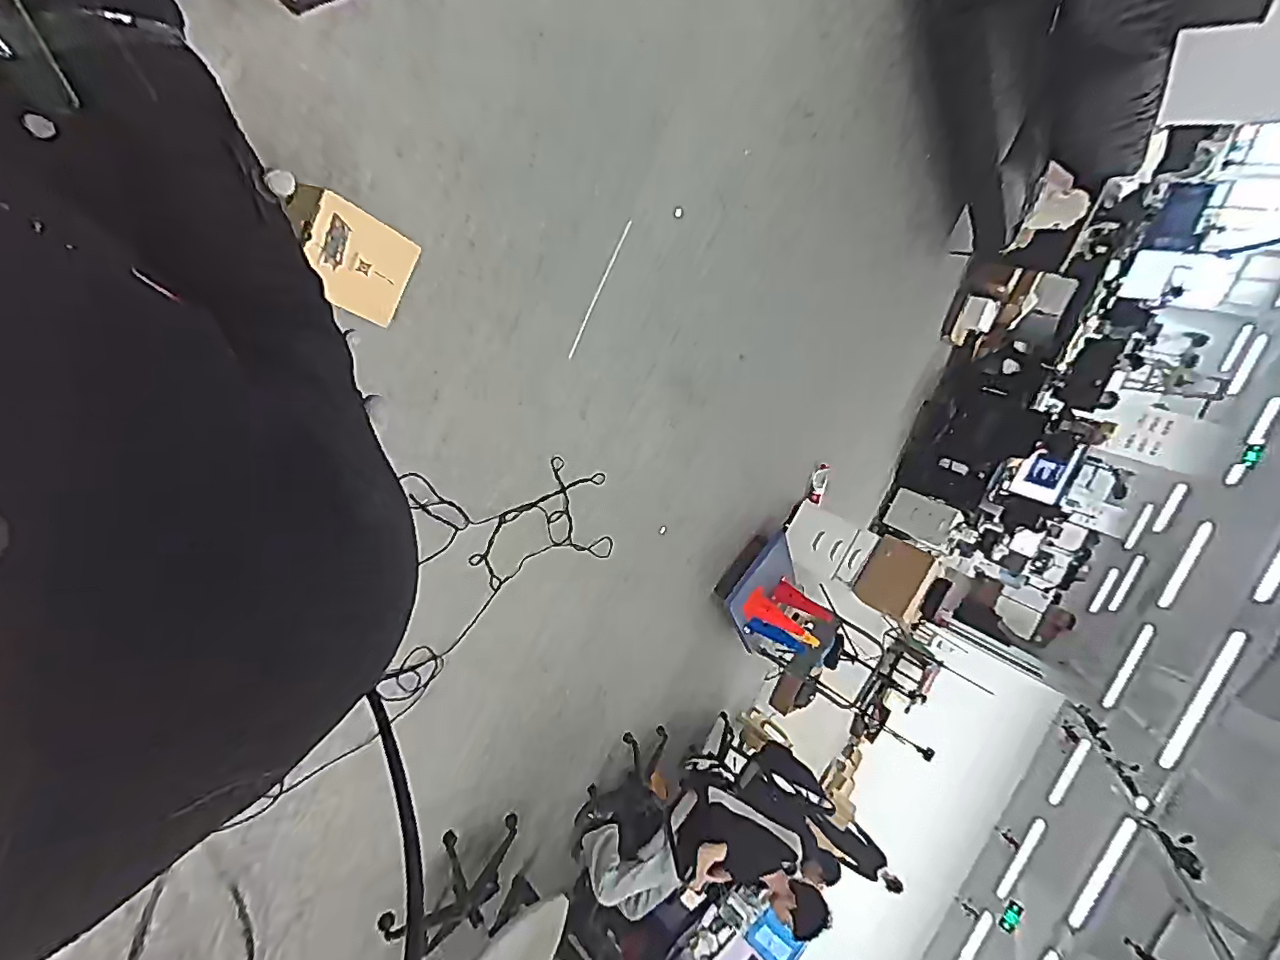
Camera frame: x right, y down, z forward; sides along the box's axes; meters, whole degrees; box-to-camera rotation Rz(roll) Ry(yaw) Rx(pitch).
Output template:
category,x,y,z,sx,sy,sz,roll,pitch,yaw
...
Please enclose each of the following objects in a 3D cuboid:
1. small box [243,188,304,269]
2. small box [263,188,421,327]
category,x,y,z,sx,sy,sz,roll,pitch,yaw
small box,-0.650,-0.463,1.086,0.179,0.176,0.168,24,93,-53
small box,-0.541,-0.401,0.978,0.179,0.176,0.168,20,96,-54
